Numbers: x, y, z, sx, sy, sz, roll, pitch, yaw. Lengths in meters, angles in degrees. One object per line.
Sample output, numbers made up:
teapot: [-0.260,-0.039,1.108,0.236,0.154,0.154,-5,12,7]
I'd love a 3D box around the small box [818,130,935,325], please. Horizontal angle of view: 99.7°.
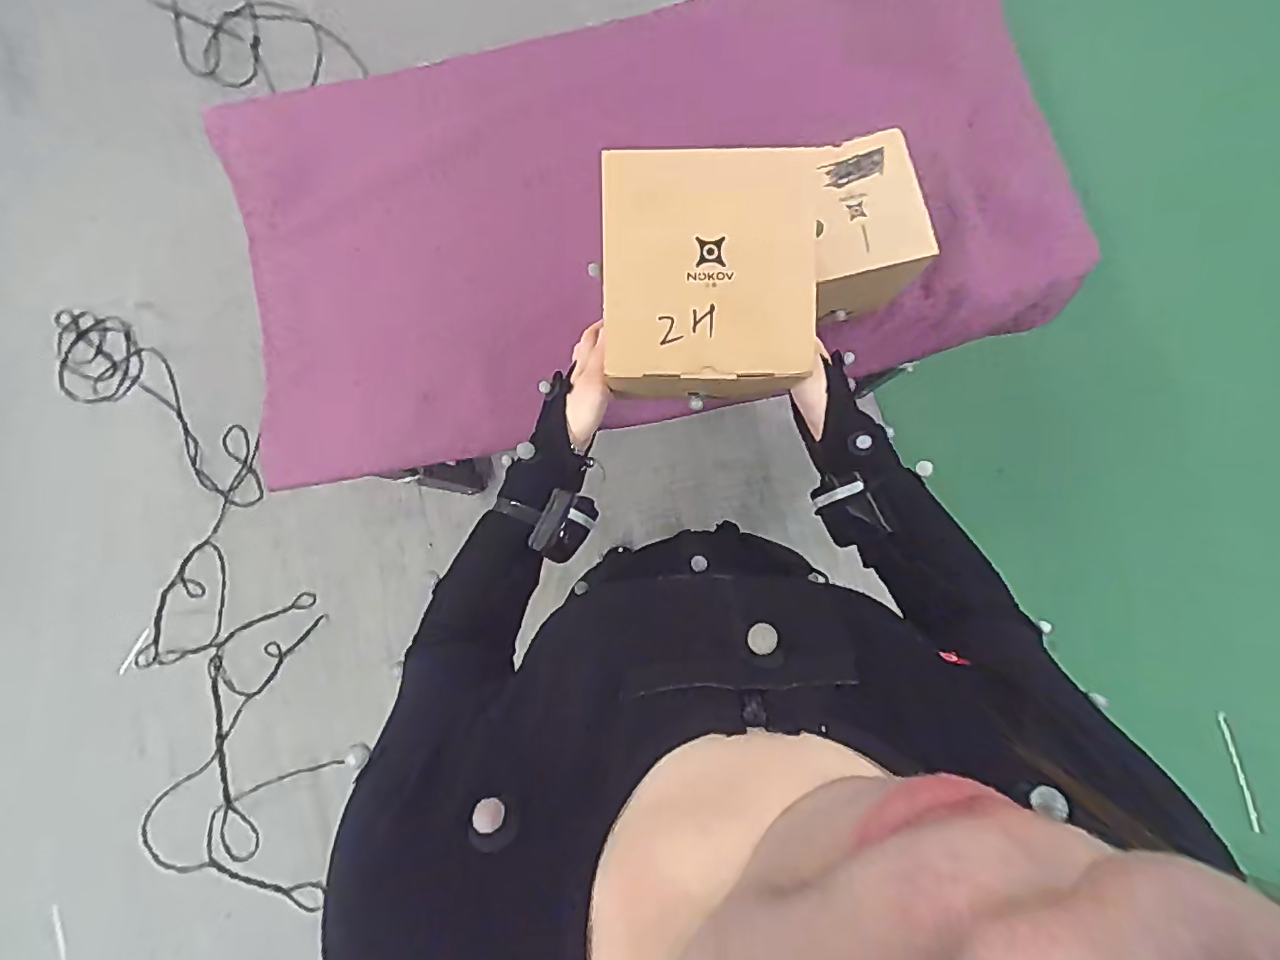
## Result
small box: [0.264,-0.332,0.750,0.168,0.176,0.179,-14,84,0]

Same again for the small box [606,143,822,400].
small box: [0.057,-0.172,0.494,0.168,0.176,0.179,0,92,1]
